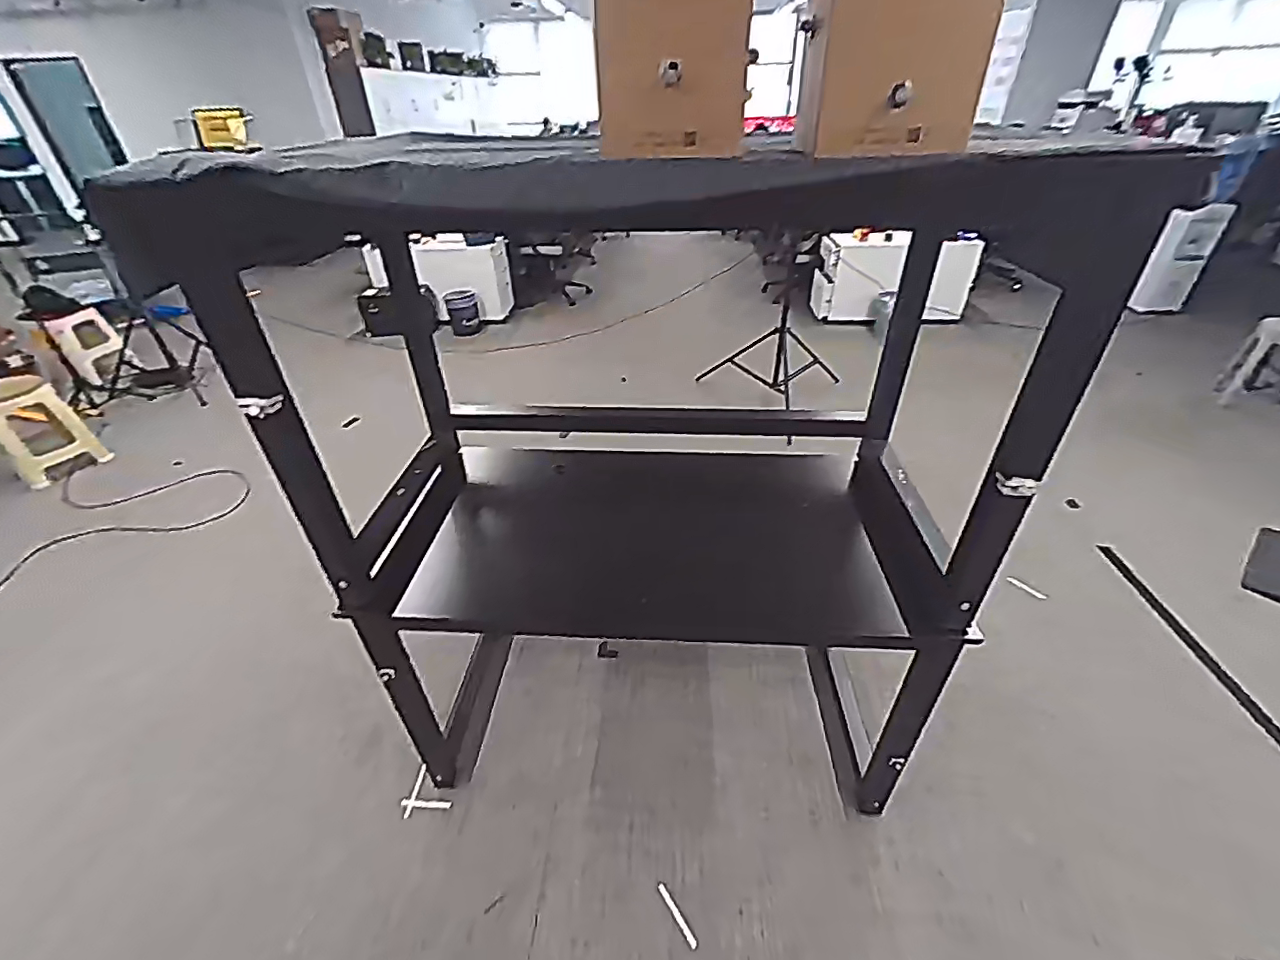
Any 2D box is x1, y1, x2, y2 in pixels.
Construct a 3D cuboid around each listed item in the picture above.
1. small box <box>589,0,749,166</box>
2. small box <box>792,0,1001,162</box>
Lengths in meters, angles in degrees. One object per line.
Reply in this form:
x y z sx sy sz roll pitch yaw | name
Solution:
0.042 -0.479 0.648 0.168 0.176 0.179 3 35 6 | small box
0.278 -0.472 0.626 0.168 0.176 0.179 1 34 5 | small box
